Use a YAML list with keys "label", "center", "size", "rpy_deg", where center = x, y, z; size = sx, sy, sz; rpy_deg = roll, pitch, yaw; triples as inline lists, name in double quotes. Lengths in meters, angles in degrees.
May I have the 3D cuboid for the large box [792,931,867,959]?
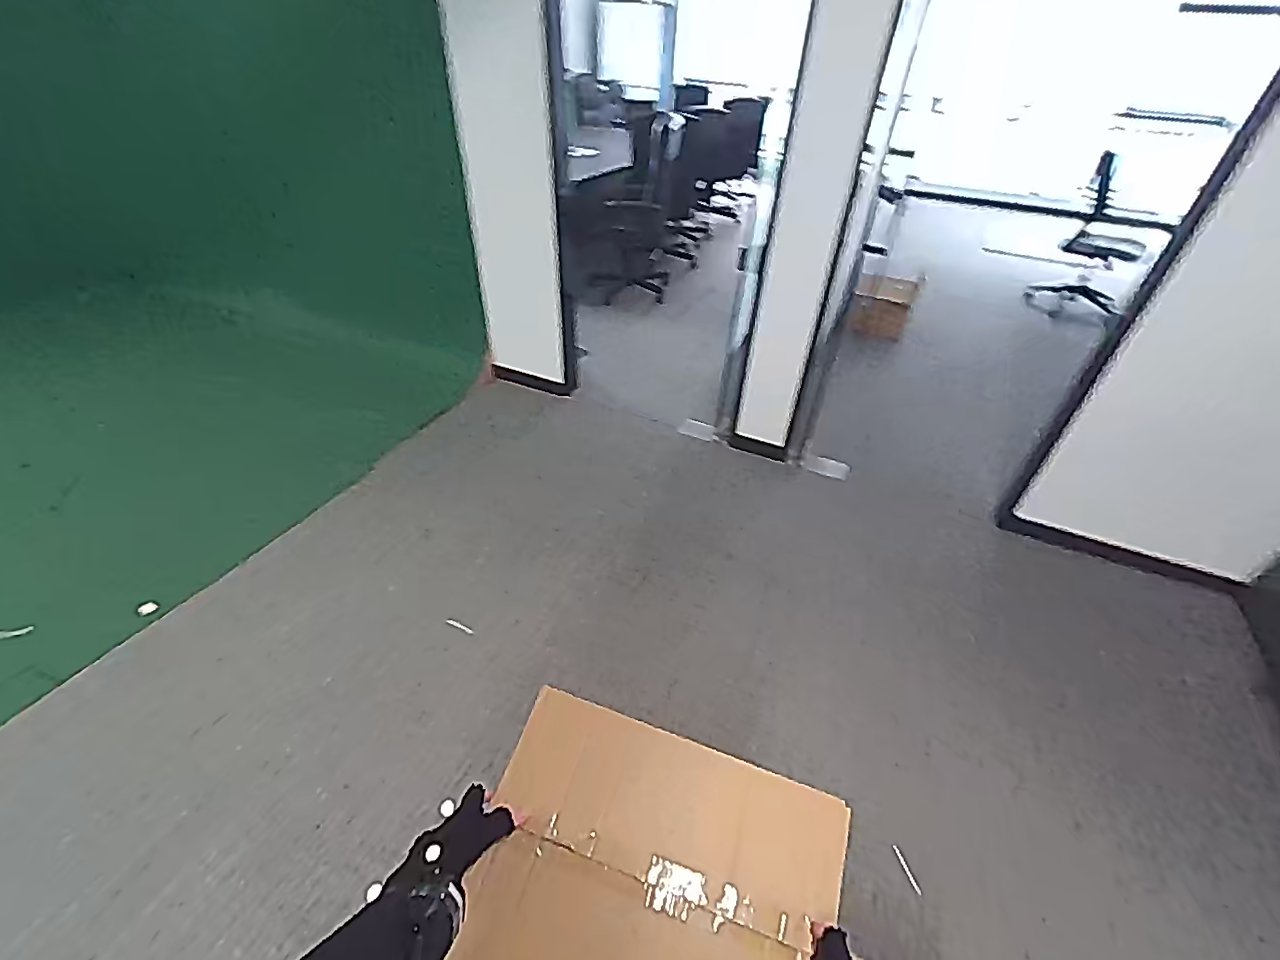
- label: "large box"
  center: [0.358, 1.088, 0.882]
  size: [0.320, 0.320, 0.408]
  rpy_deg: [20, 41, 19]
